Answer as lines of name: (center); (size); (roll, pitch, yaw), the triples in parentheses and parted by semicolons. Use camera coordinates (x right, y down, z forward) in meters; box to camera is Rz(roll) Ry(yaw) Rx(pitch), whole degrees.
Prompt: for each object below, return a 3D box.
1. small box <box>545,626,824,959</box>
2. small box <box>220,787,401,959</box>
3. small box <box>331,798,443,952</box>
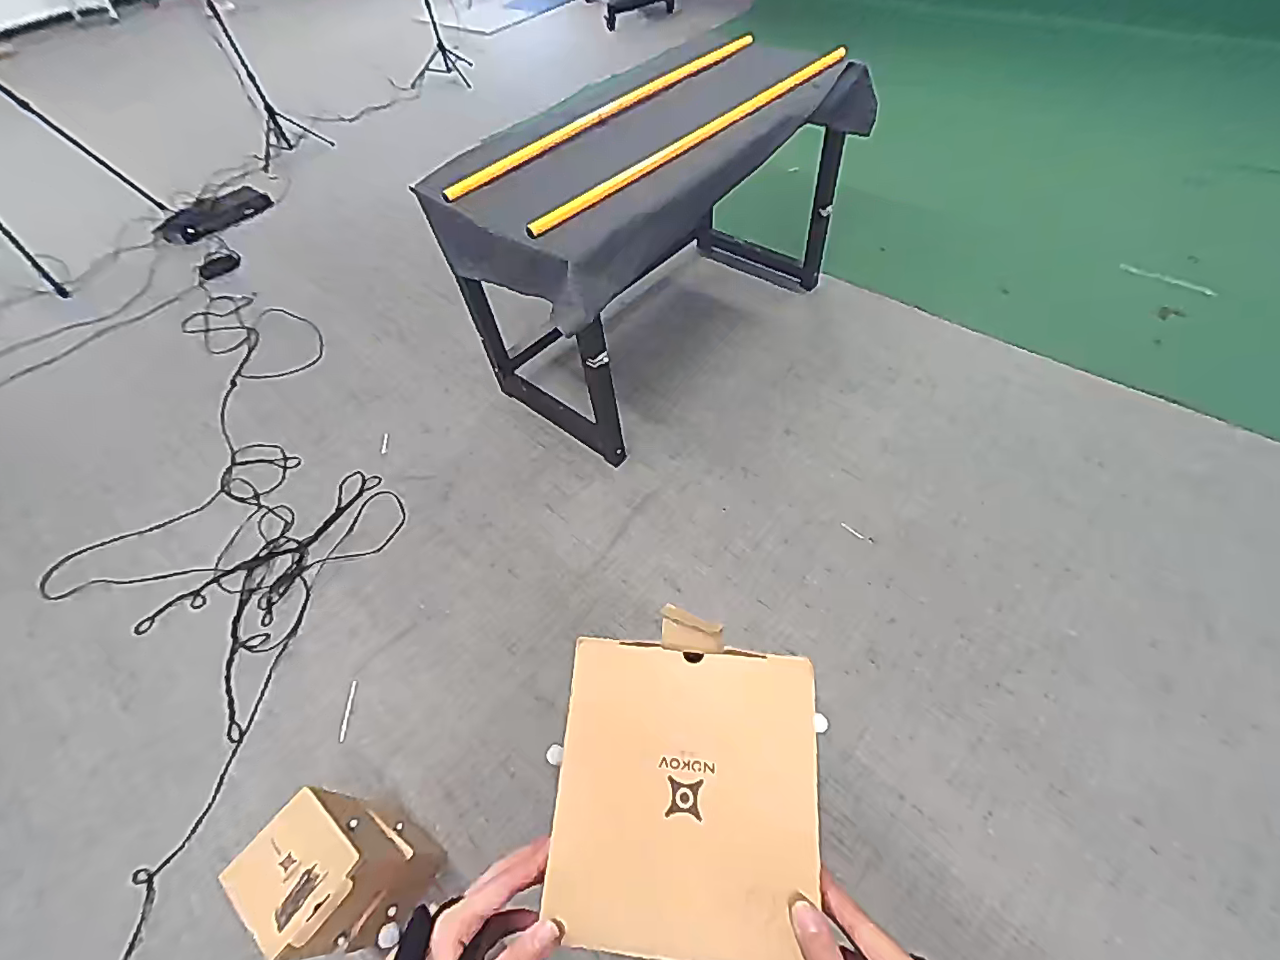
small box: (0.038, 0.221, 0.416); (0.168, 0.176, 0.179); (3, 65, 6)
small box: (-0.550, 0.665, 0.926); (0.179, 0.176, 0.168); (29, 61, 26)
small box: (-0.523, 0.764, 1.055); (0.168, 0.176, 0.179); (24, 60, 23)
